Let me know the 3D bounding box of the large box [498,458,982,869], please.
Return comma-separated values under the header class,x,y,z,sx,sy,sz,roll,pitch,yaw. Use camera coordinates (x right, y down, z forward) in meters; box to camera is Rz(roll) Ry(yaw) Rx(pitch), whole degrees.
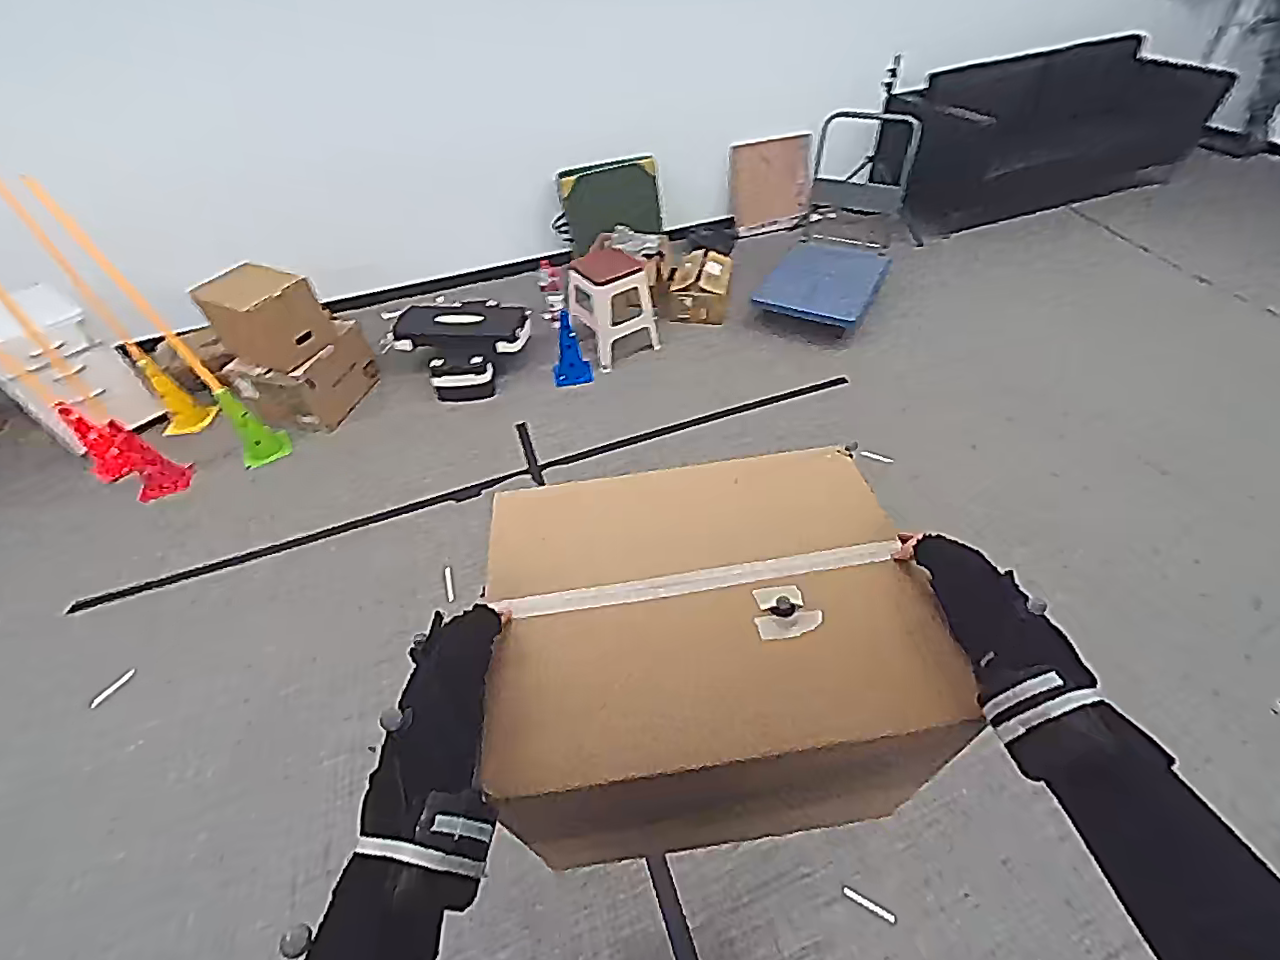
class,x,y,z,sx,sy,sz,roll,pitch,yaw
large box,0.073,0.213,0.634,0.408,0.320,0.320,-8,46,-2
